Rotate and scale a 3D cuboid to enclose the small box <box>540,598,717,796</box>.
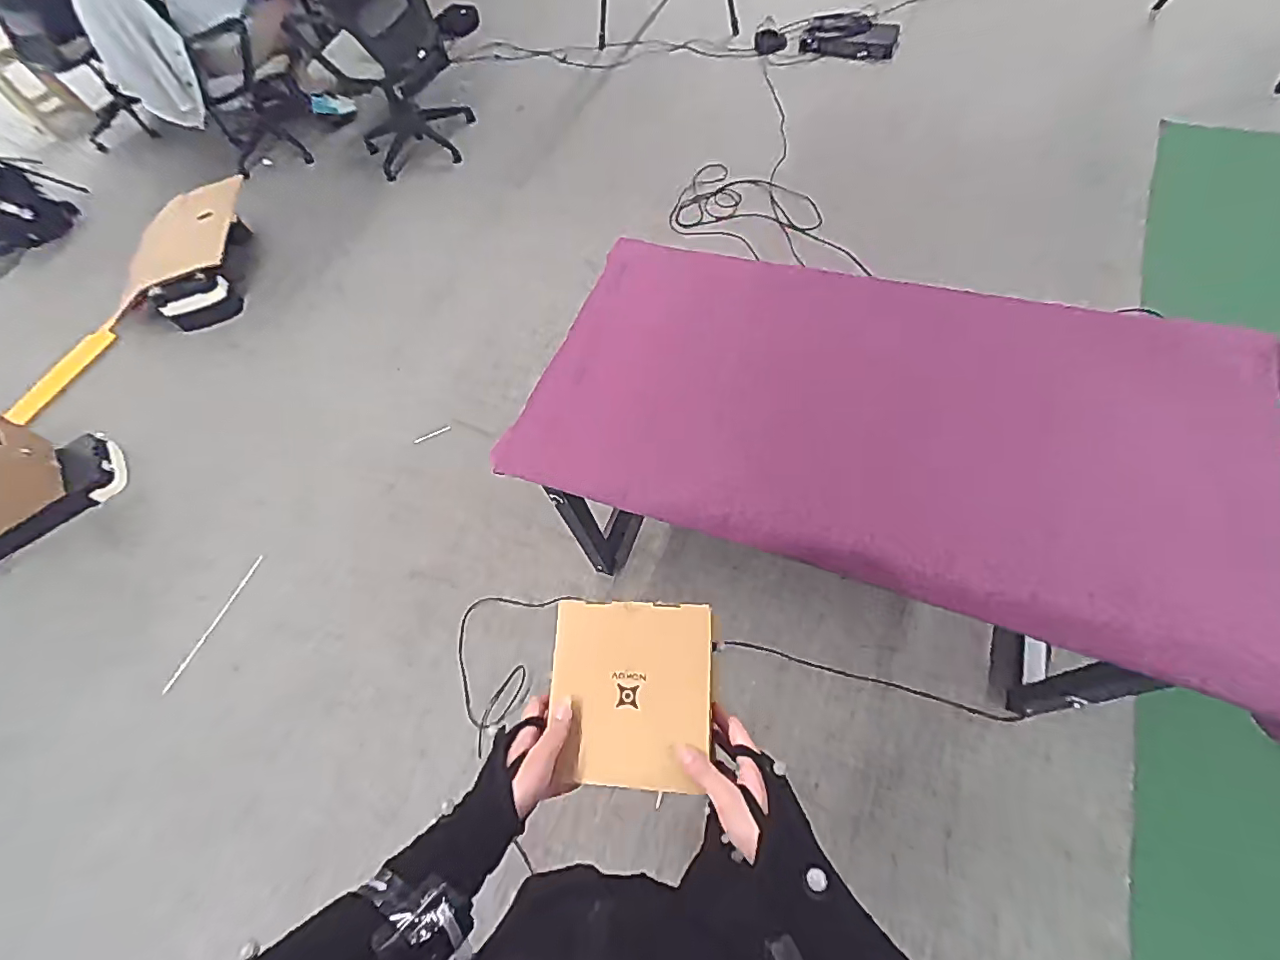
[{"bbox_3d":[0.001,0.233,0.612,0.168,0.176,0.179,0,71,11],"label":"small box"}]
